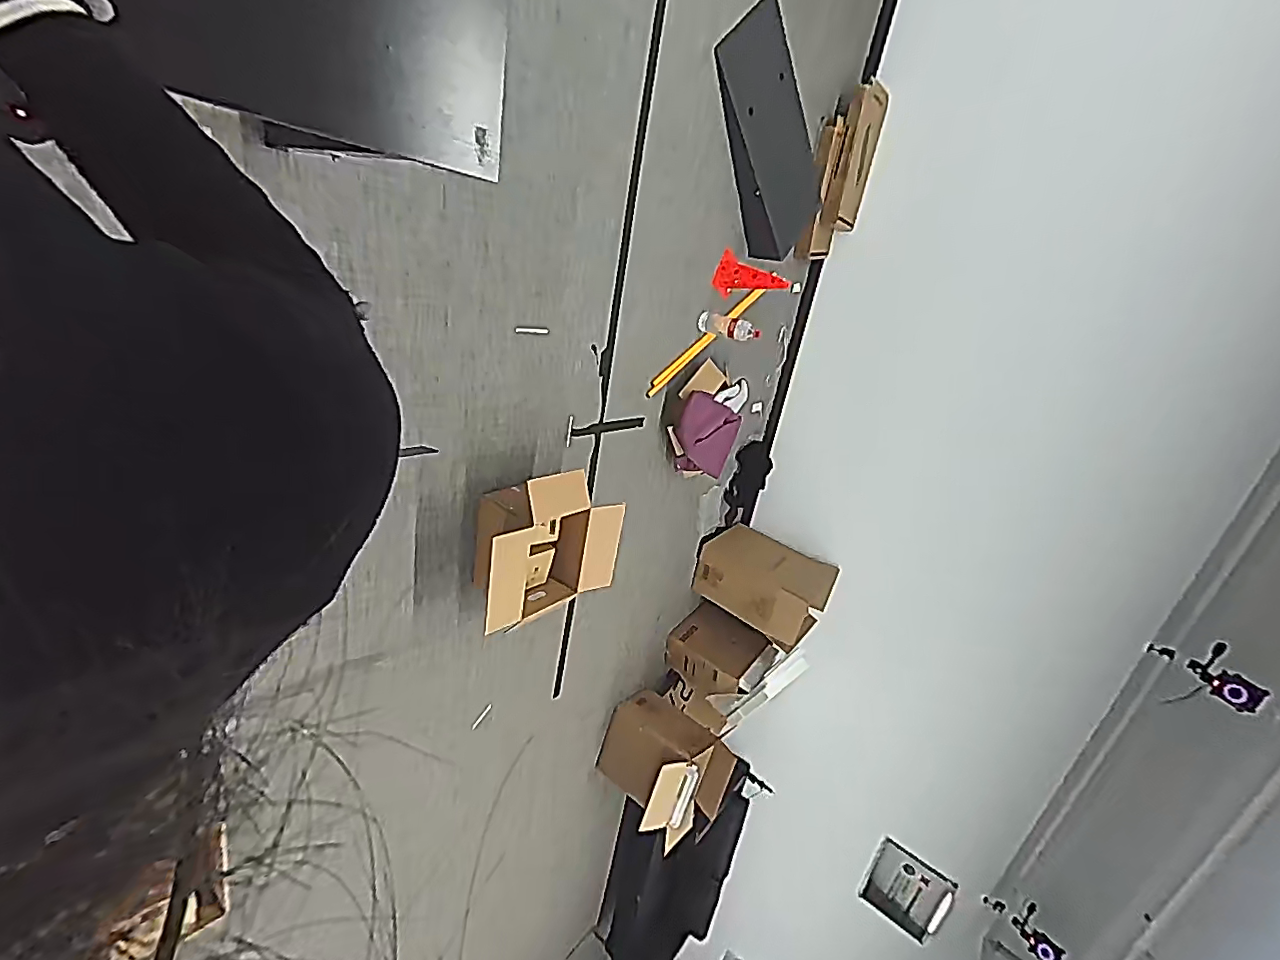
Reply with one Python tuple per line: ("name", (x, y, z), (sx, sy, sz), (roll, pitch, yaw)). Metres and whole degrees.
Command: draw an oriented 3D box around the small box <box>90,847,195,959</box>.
("small box", (-1.341, 1.152, 1.461), (0.179, 0.176, 0.168), (-11, 117, -52))
